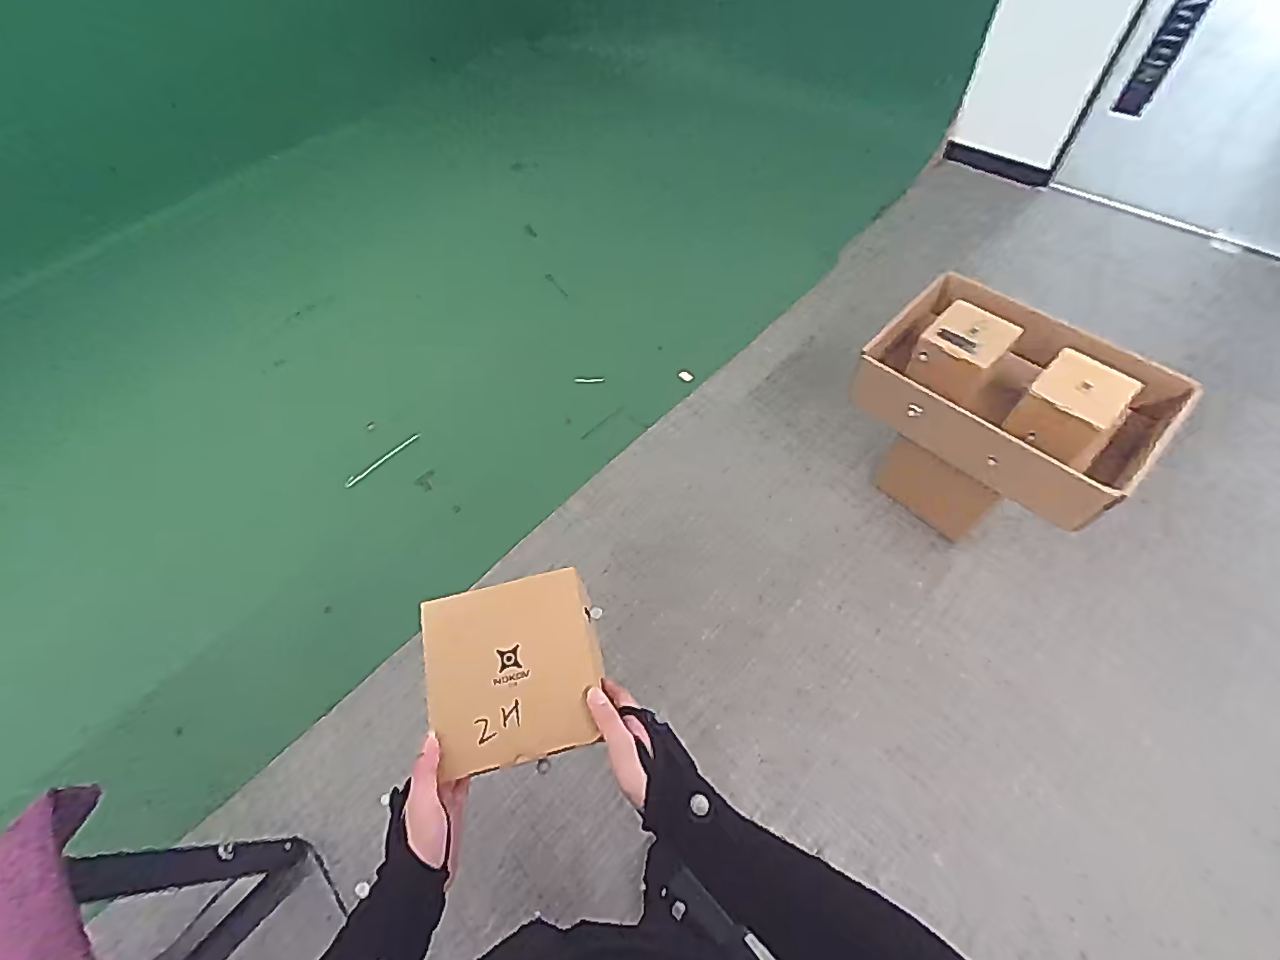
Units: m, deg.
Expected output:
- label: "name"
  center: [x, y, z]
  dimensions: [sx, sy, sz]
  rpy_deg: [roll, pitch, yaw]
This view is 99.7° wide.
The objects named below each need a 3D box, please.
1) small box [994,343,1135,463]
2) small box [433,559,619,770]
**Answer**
- label: "small box"
  center: [0.973, -0.175, 1.257]
  dimensions: [0.179, 0.176, 0.168]
  rpy_deg: [-41, 65, -17]
- label: "small box"
  center: [-0.120, 0.208, 0.608]
  dimensions: [0.168, 0.176, 0.179]
  rpy_deg: [-12, 67, -5]
